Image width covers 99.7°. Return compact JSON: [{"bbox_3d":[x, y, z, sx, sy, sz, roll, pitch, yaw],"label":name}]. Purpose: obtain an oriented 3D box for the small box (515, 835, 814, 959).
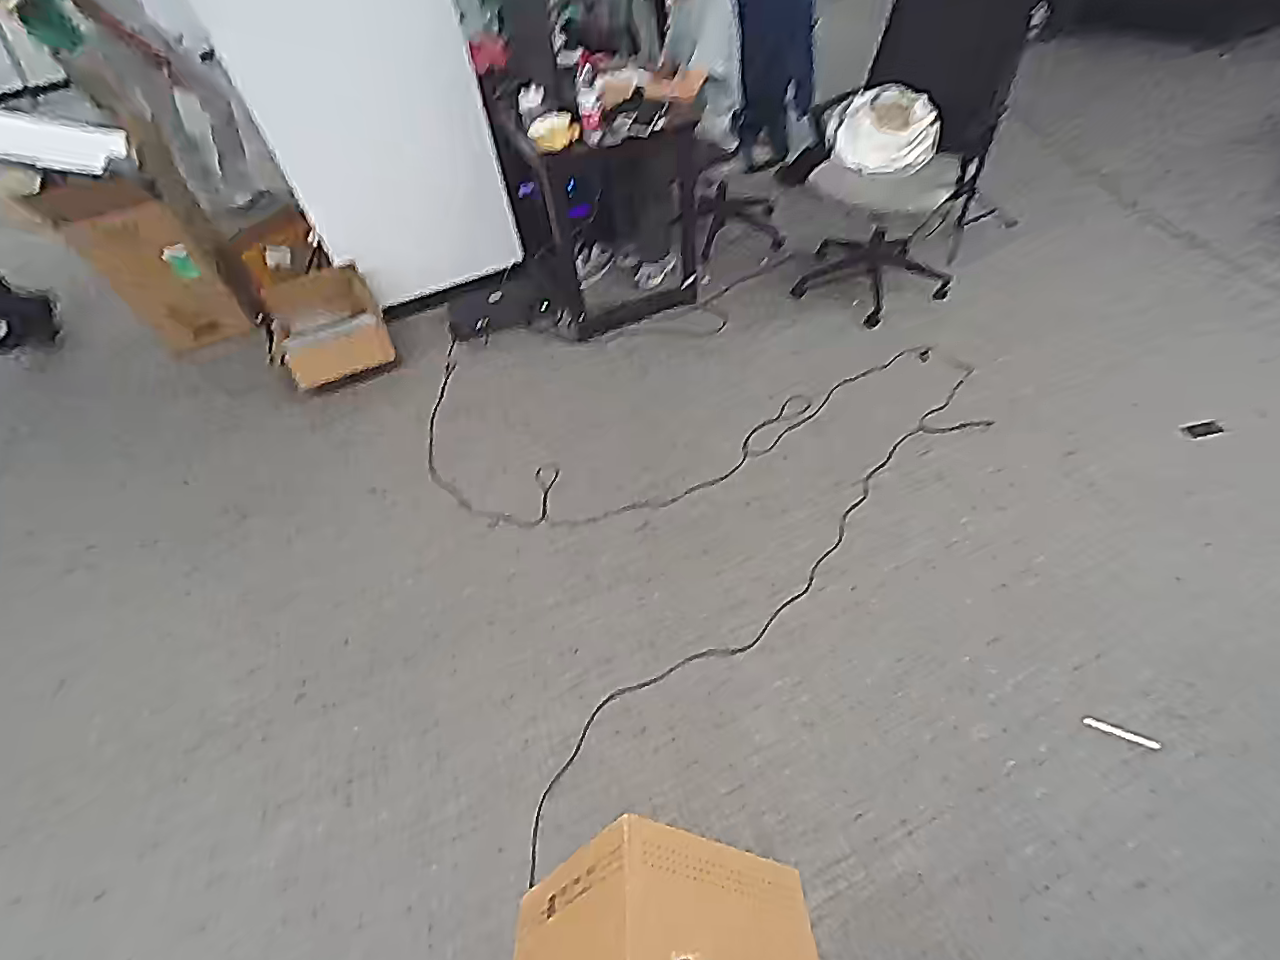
[{"bbox_3d":[0.015,0.384,0.381,0.179,0.168,0.176,30,28,-20],"label":"small box"}]
